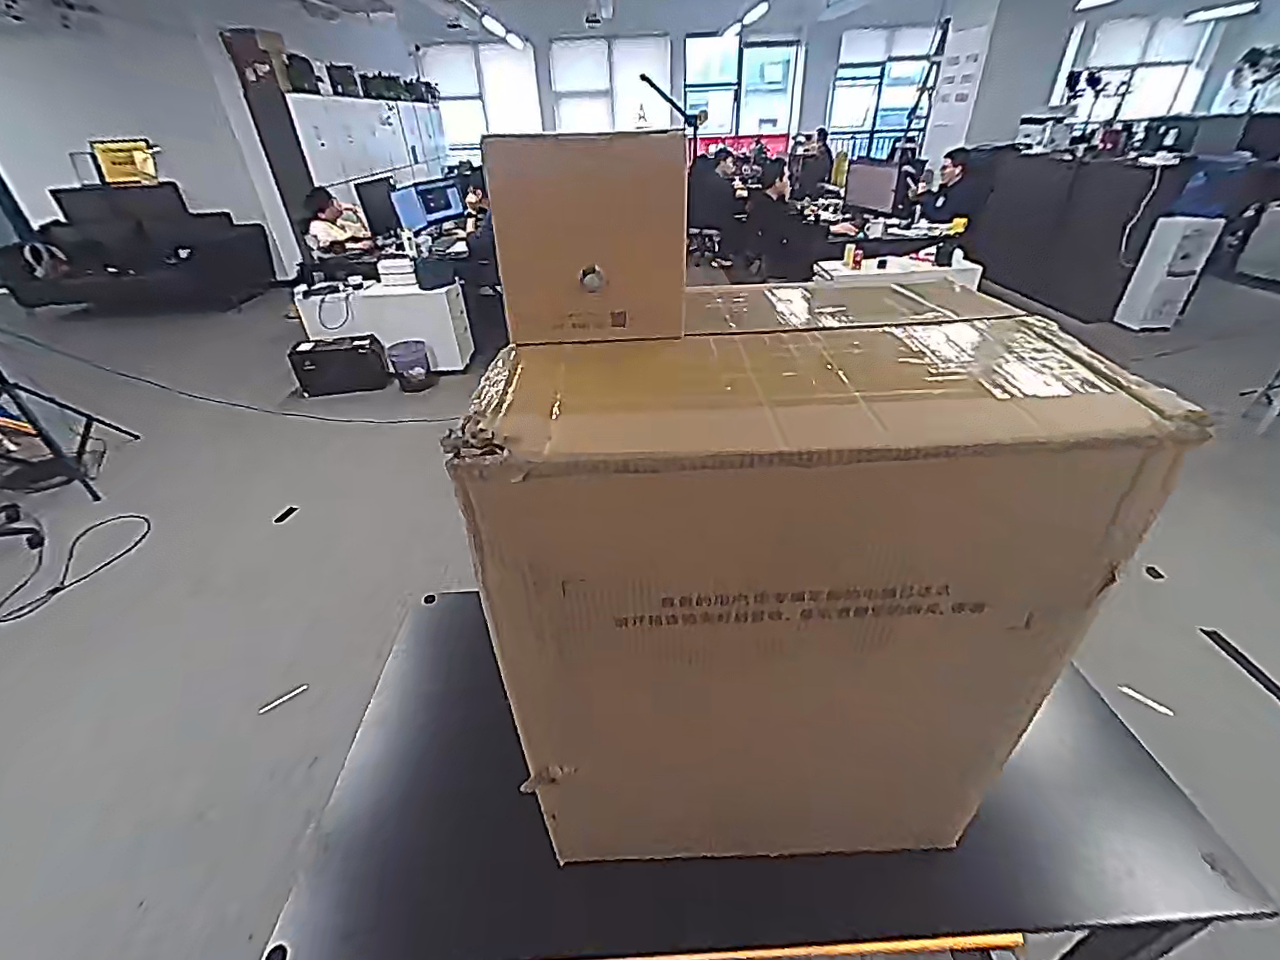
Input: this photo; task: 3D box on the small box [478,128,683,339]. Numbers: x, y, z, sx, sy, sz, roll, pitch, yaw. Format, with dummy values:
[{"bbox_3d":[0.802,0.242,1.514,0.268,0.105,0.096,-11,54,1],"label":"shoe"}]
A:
[{"bbox_3d":[-0.050,-0.247,0.539,0.168,0.176,0.179,-4,32,-2],"label":"small box"}]
